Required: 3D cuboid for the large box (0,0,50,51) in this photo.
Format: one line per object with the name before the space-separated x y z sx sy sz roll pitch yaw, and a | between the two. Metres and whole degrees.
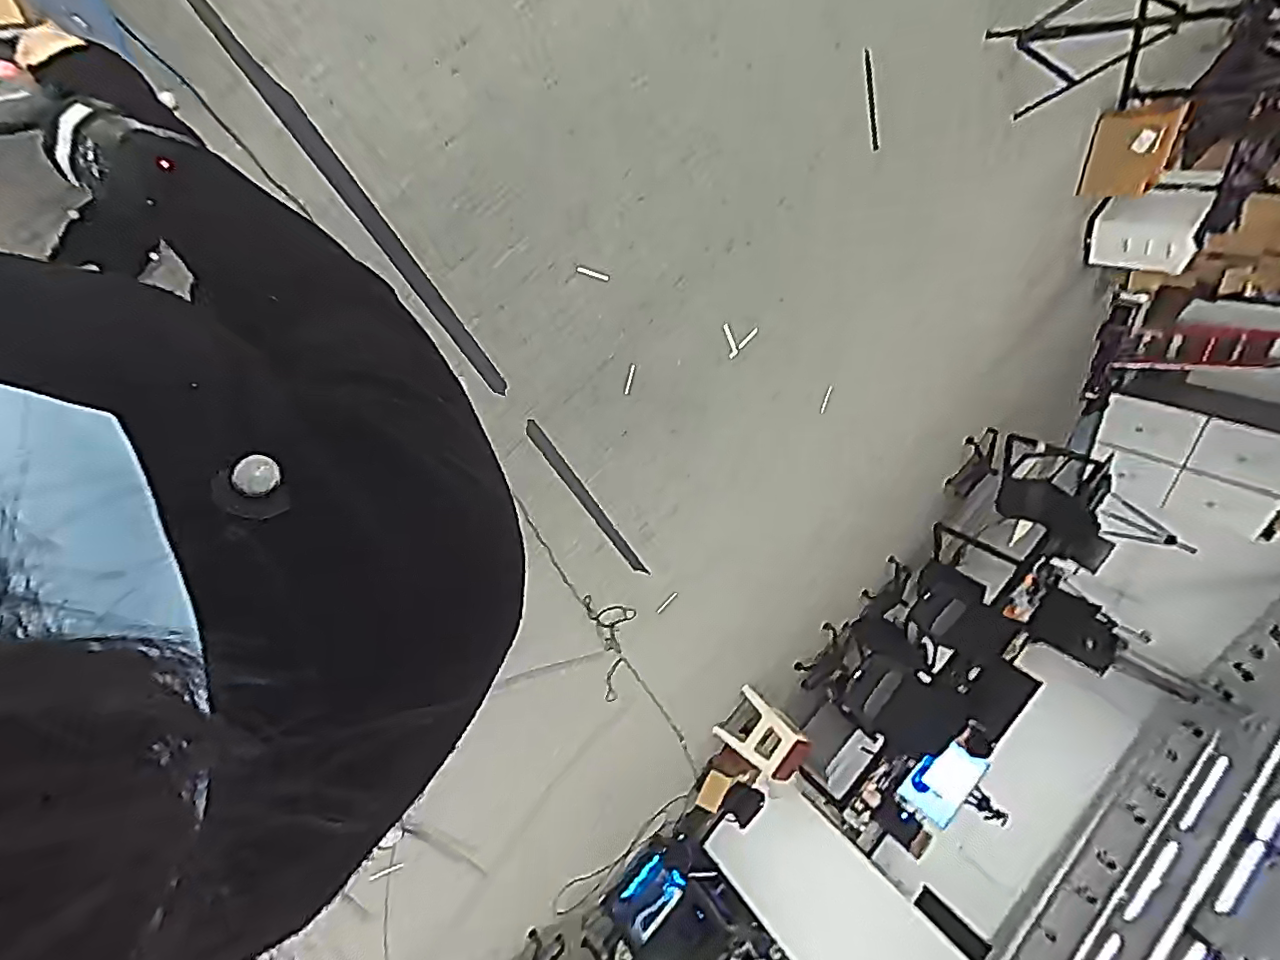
large box | -0.928 -0.603 0.507 0.408 0.320 0.320 -28 132 -28
